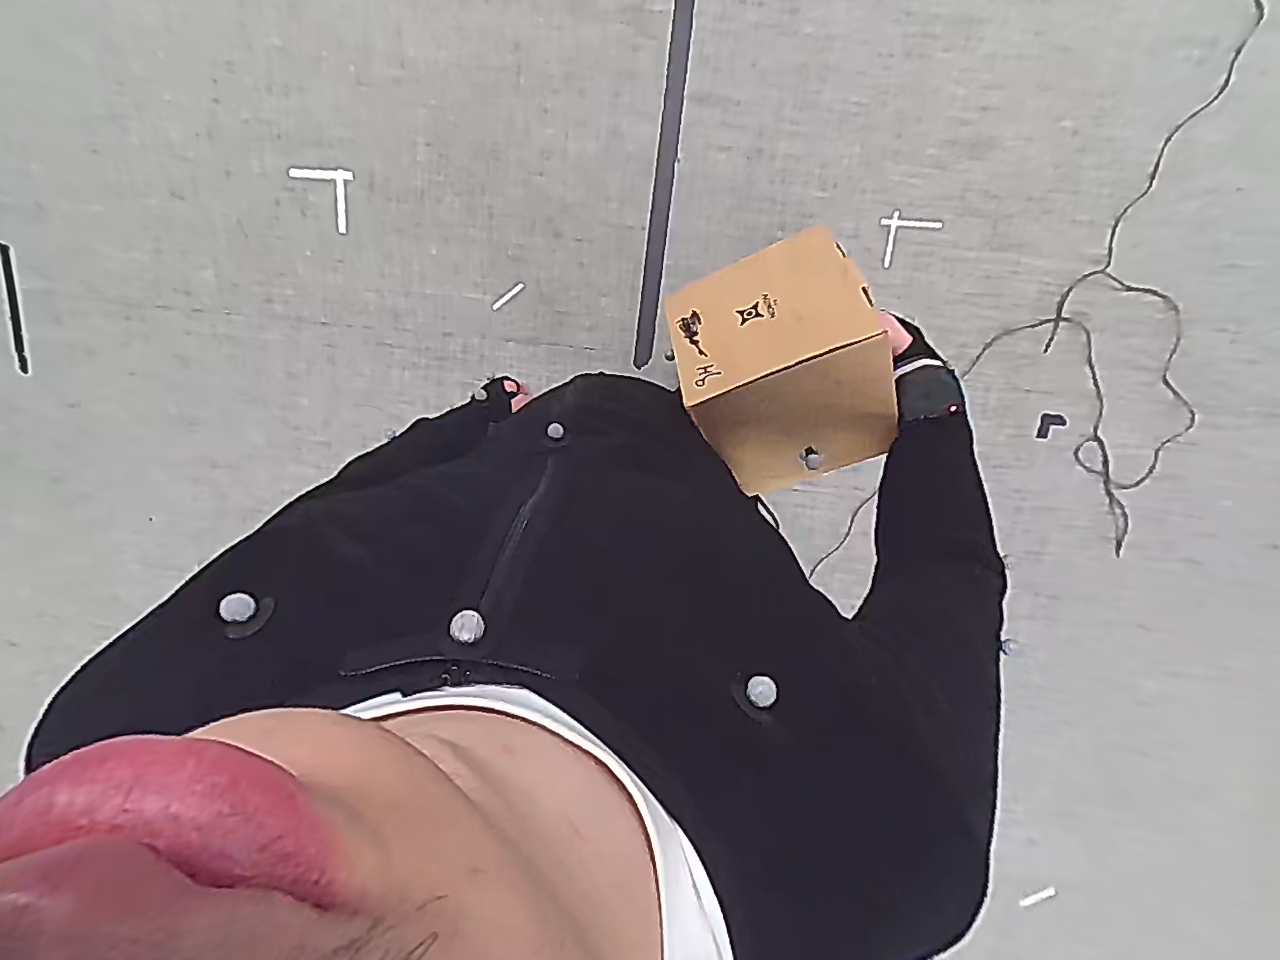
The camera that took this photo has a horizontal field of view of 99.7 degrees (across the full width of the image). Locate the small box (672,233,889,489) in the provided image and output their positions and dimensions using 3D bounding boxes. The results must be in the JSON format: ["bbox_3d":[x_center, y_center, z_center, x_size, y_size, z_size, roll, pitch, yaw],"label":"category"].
[{"bbox_3d":[0.152,-0.116,0.578,0.179,0.168,0.176,-19,140,16],"label":"small box"}]
